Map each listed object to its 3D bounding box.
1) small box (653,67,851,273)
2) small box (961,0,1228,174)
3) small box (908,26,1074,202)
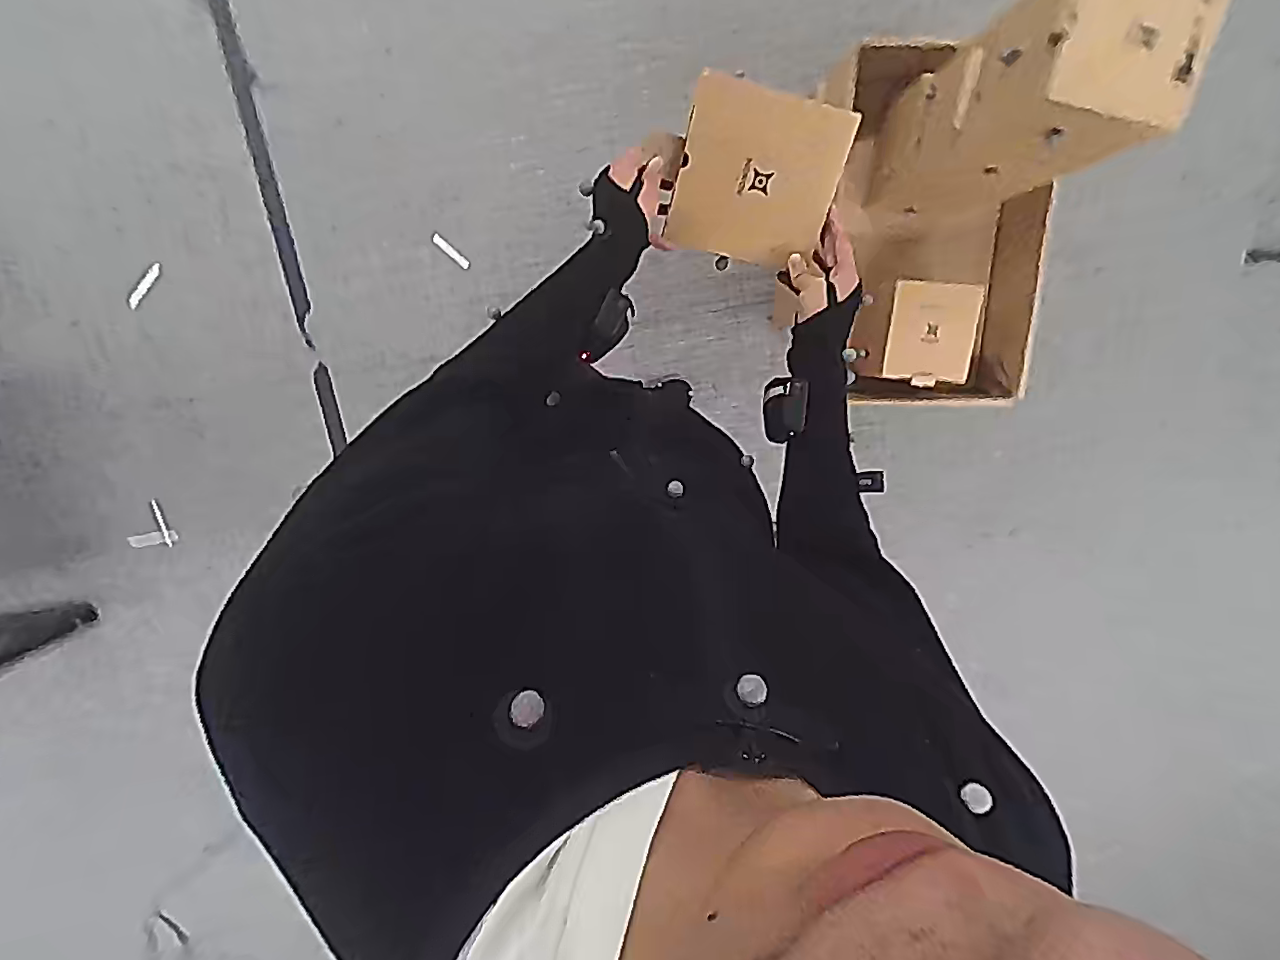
[{"bbox_3d":[0.121,-0.363,0.657,0.179,0.176,0.168,13,115,-2],"label":"small box"},{"bbox_3d":[0.551,-0.512,0.681,0.179,0.176,0.168,12,103,-4],"label":"small box"},{"bbox_3d":[0.553,-0.551,0.841,0.179,0.176,0.168,7,103,-4],"label":"small box"}]
